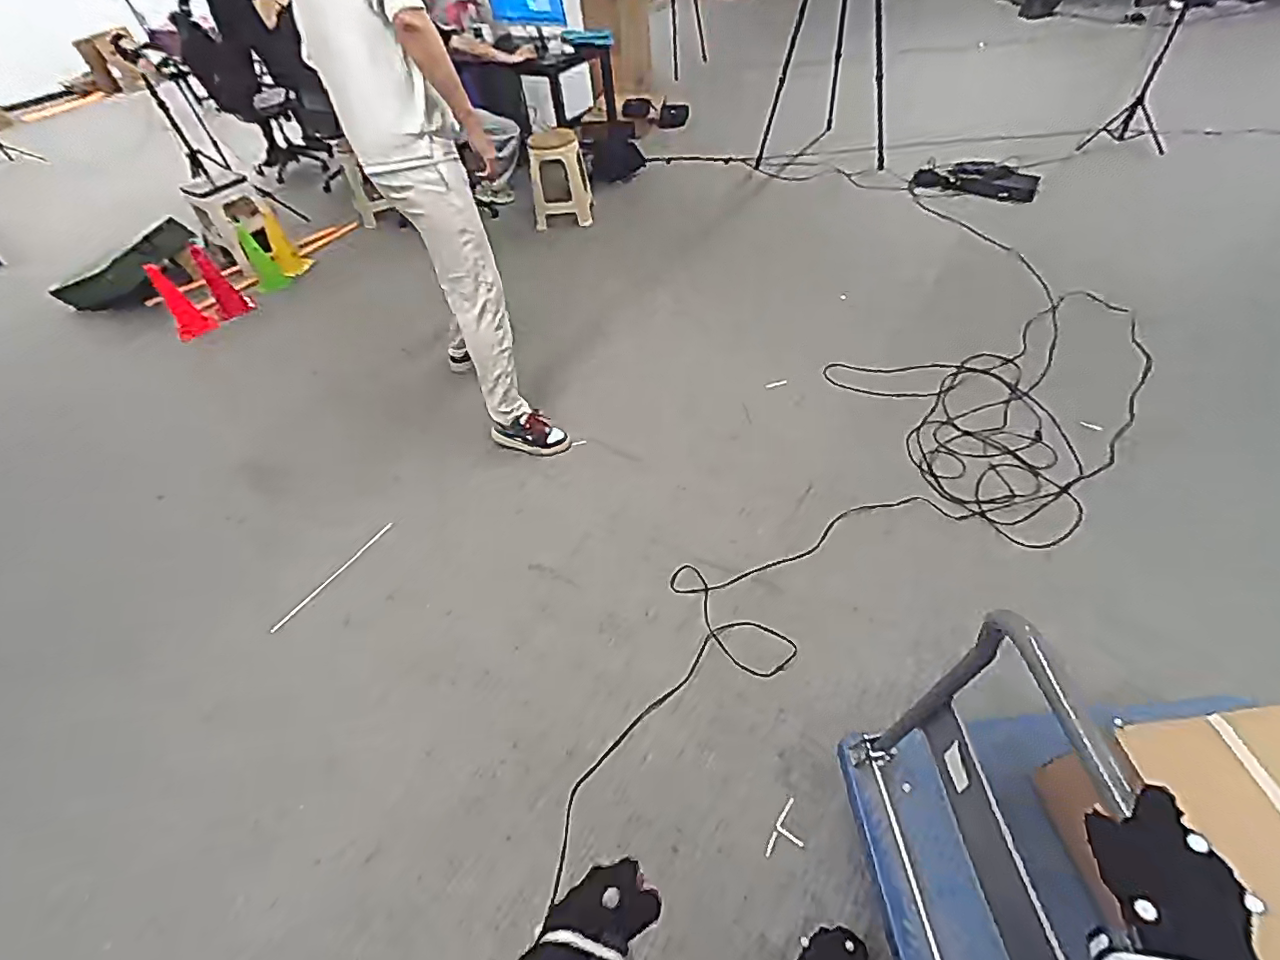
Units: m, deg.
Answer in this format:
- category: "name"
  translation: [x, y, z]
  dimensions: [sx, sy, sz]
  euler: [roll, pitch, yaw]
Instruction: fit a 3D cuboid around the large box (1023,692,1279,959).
- category: "large box"
  translation: [0.933, 0.614, 0.868]
  dimensions: [0.320, 0.320, 0.408]
  euler: [-8, 48, 1]
